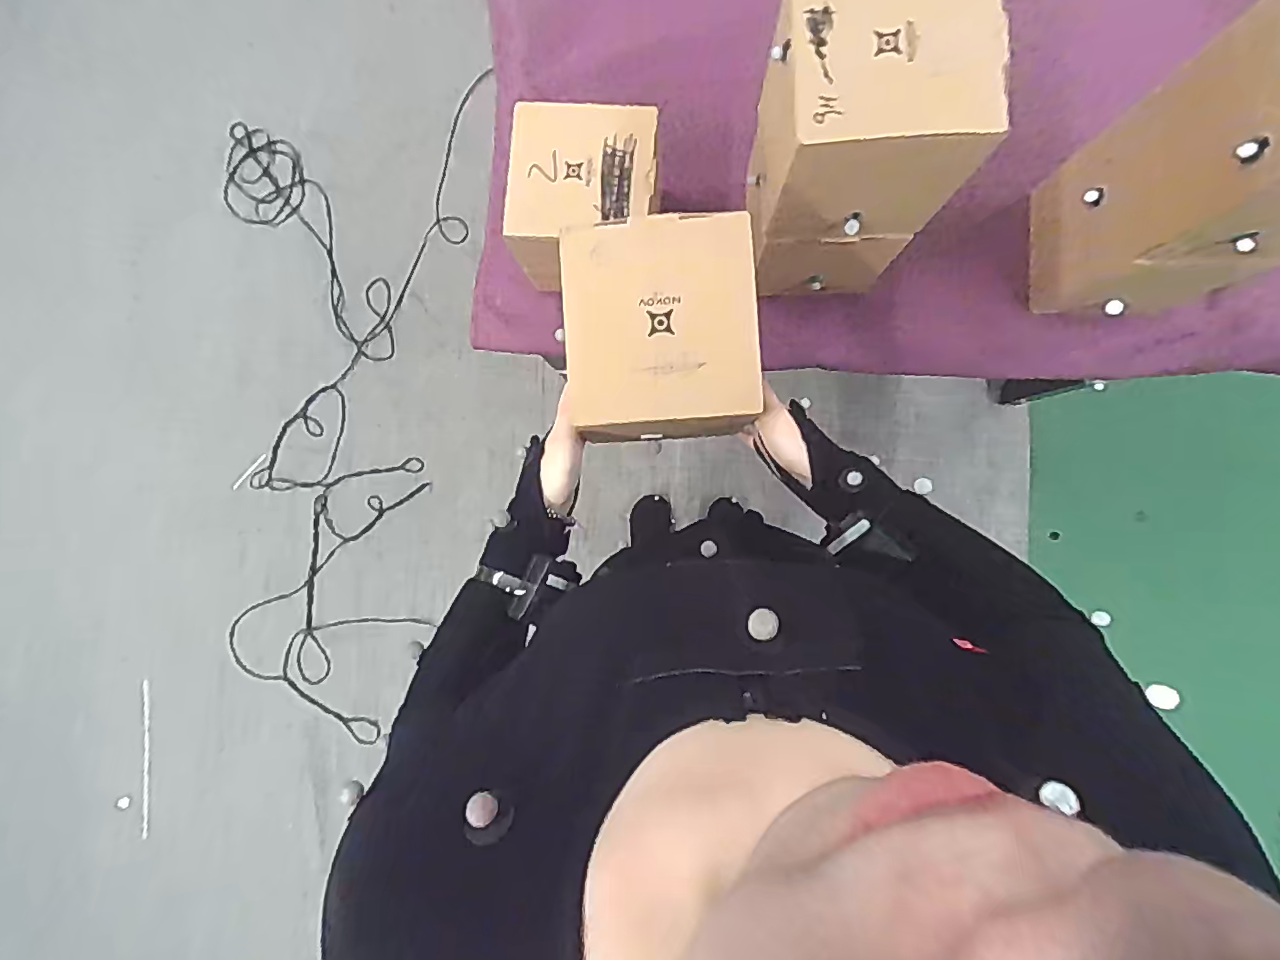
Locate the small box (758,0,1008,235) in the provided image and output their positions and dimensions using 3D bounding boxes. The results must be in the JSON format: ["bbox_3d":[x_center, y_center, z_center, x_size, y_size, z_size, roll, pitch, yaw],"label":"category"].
[{"bbox_3d":[0.220,-0.363,0.534,0.179,0.176,0.168,-2,86,3],"label":"small box"}]

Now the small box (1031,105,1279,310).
[{"bbox_3d":[0.624,-0.328,0.675,0.168,0.176,0.179,1,89,4],"label":"small box"}]

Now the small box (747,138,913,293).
[{"bbox_3d":[0.231,-0.360,0.698,0.168,0.176,0.179,-1,88,4],"label":"small box"}]
